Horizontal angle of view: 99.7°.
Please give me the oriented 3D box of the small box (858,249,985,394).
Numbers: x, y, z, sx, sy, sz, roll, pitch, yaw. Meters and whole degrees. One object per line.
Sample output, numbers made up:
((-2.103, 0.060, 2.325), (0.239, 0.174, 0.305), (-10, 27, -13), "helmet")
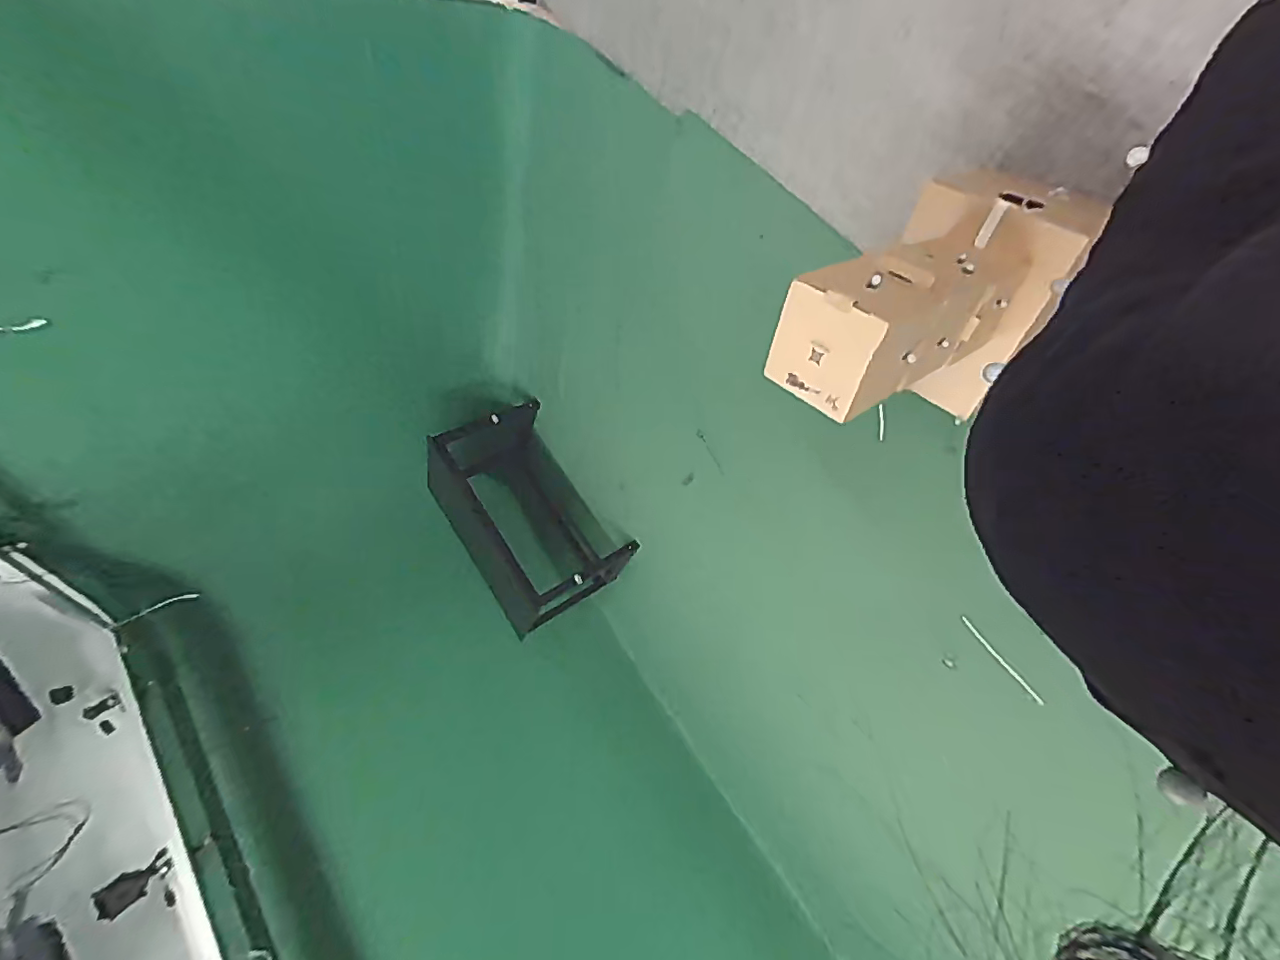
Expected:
((0.465, -0.285, 0.949), (0.168, 0.176, 0.179), (42, 142, 31), "small box")

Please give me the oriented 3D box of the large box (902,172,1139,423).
((0.765, -0.411, 1.198), (0.320, 0.320, 0.408), (44, 144, 32), "large box")

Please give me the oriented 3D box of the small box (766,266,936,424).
((0.337, -0.223, 0.865), (0.168, 0.176, 0.179), (43, 141, 30), "small box")

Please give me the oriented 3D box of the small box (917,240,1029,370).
((0.591, -0.342, 1.036), (0.179, 0.176, 0.168), (43, 142, 30), "small box")
